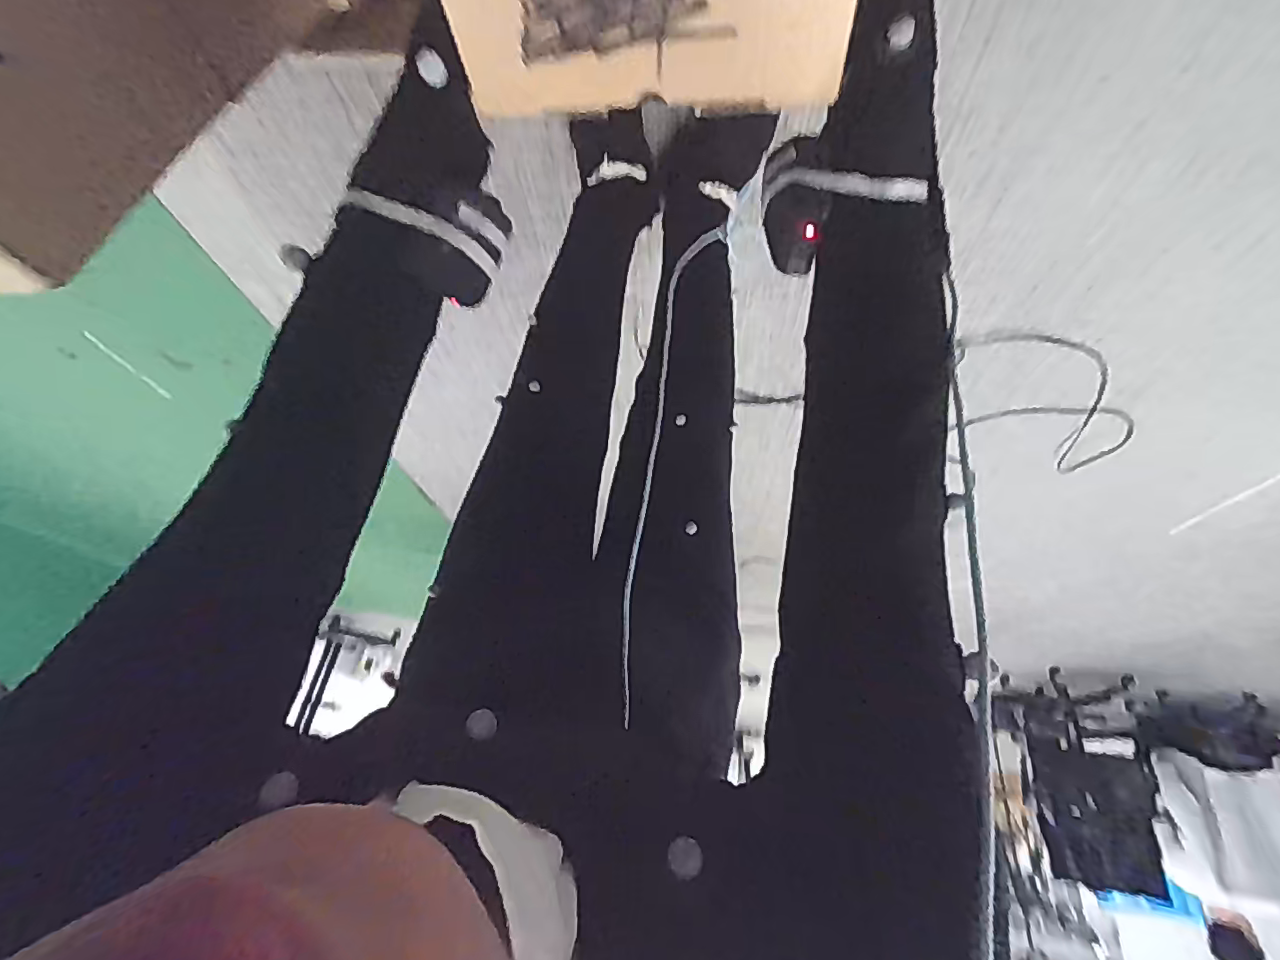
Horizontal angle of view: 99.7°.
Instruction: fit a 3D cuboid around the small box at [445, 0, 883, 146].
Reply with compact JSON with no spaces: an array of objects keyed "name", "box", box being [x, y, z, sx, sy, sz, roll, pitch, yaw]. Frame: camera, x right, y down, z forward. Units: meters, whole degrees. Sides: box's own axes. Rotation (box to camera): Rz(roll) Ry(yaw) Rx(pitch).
[{"name":"small box","box":[0.013,-0.264,0.204,0.168,0.176,0.179,3,153,4]}]
